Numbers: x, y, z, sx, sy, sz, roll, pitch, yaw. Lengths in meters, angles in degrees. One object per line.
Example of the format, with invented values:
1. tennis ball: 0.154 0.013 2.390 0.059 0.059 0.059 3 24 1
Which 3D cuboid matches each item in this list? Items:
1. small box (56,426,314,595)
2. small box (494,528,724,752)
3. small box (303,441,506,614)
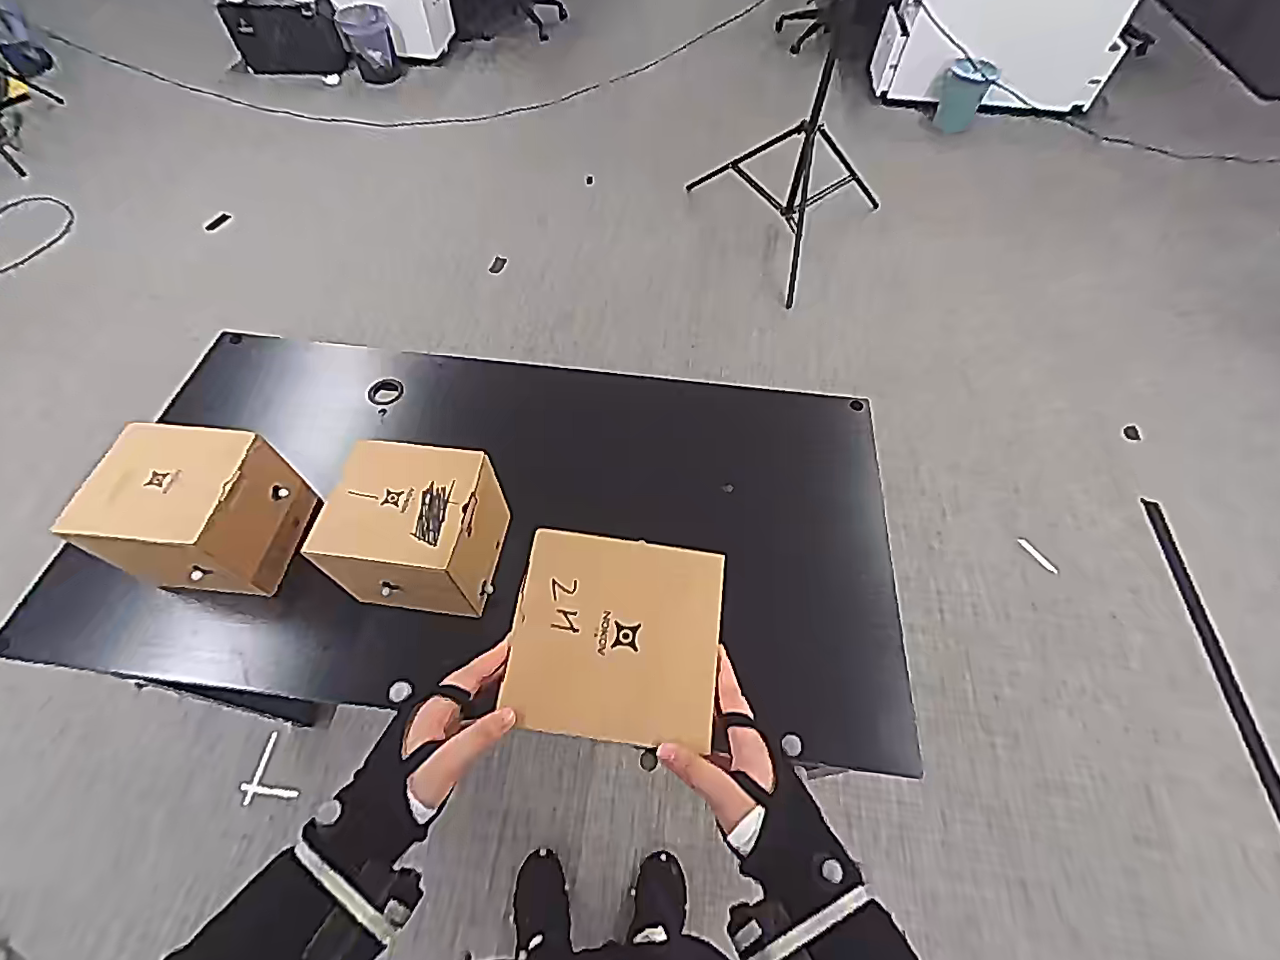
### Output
1. small box: -0.588 0.047 0.735 0.179 0.176 0.168 4 57 1
2. small box: -0.023 0.162 0.533 0.179 0.176 0.168 8 65 1
3. small box: -0.294 0.070 0.726 0.179 0.176 0.168 6 58 4
